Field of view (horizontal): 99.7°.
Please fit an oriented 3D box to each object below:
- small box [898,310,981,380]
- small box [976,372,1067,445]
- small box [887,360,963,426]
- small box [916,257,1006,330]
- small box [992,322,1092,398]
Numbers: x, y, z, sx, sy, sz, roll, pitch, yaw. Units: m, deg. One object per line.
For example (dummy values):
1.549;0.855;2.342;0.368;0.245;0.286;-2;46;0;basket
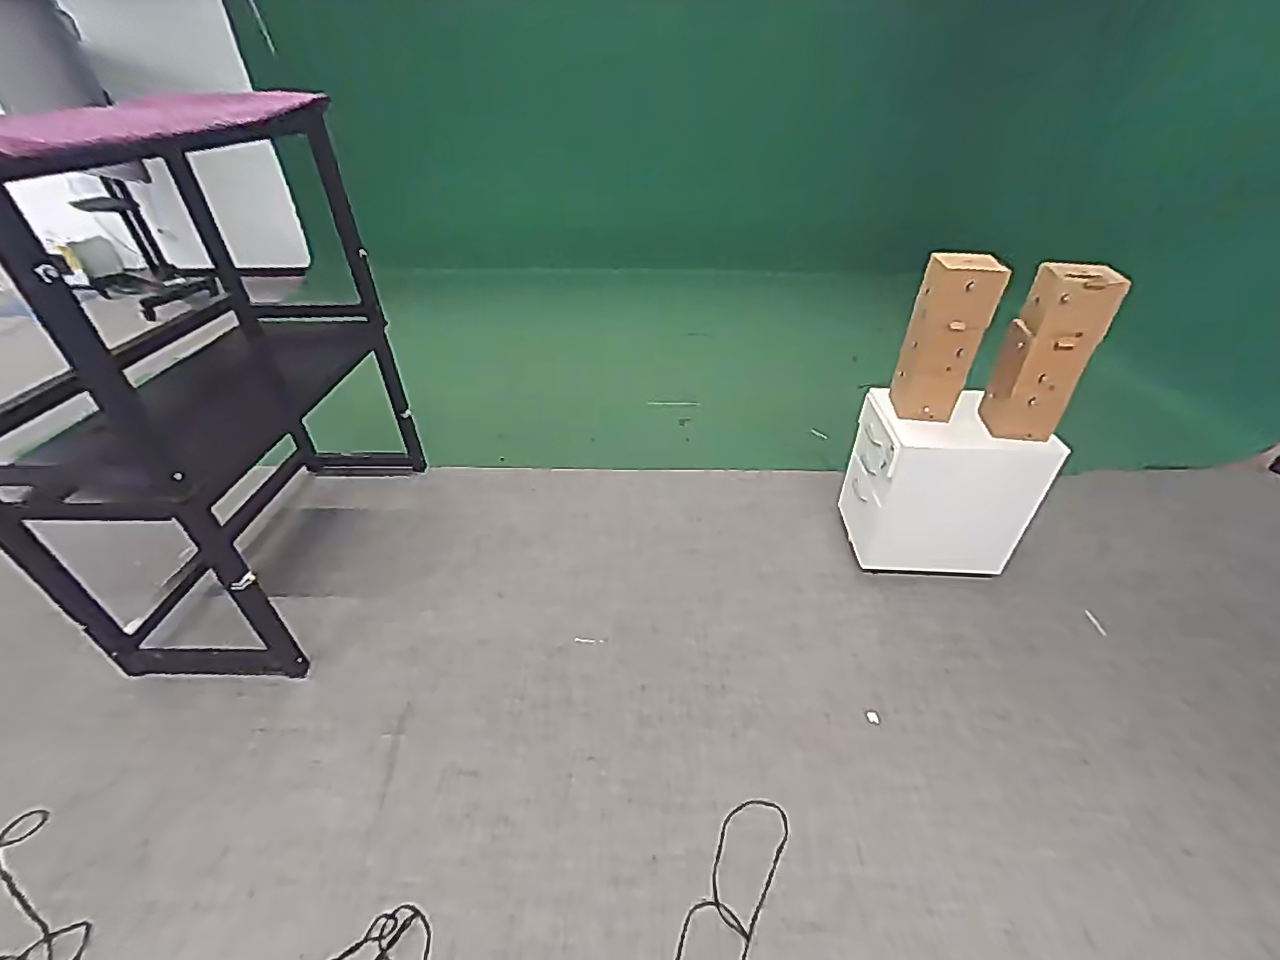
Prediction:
0.961;-0.437;1.750;0.168;0.176;0.179;7;37;6;small box
1.220;-0.233;1.748;0.168;0.176;0.179;6;37;9;small box
0.963;-0.305;1.845;0.168;0.176;0.179;6;38;7;small box
0.965;-0.568;1.650;0.179;0.176;0.168;6;39;5;small box
1.216;-0.367;1.655;0.168;0.176;0.179;6;38;8;small box
